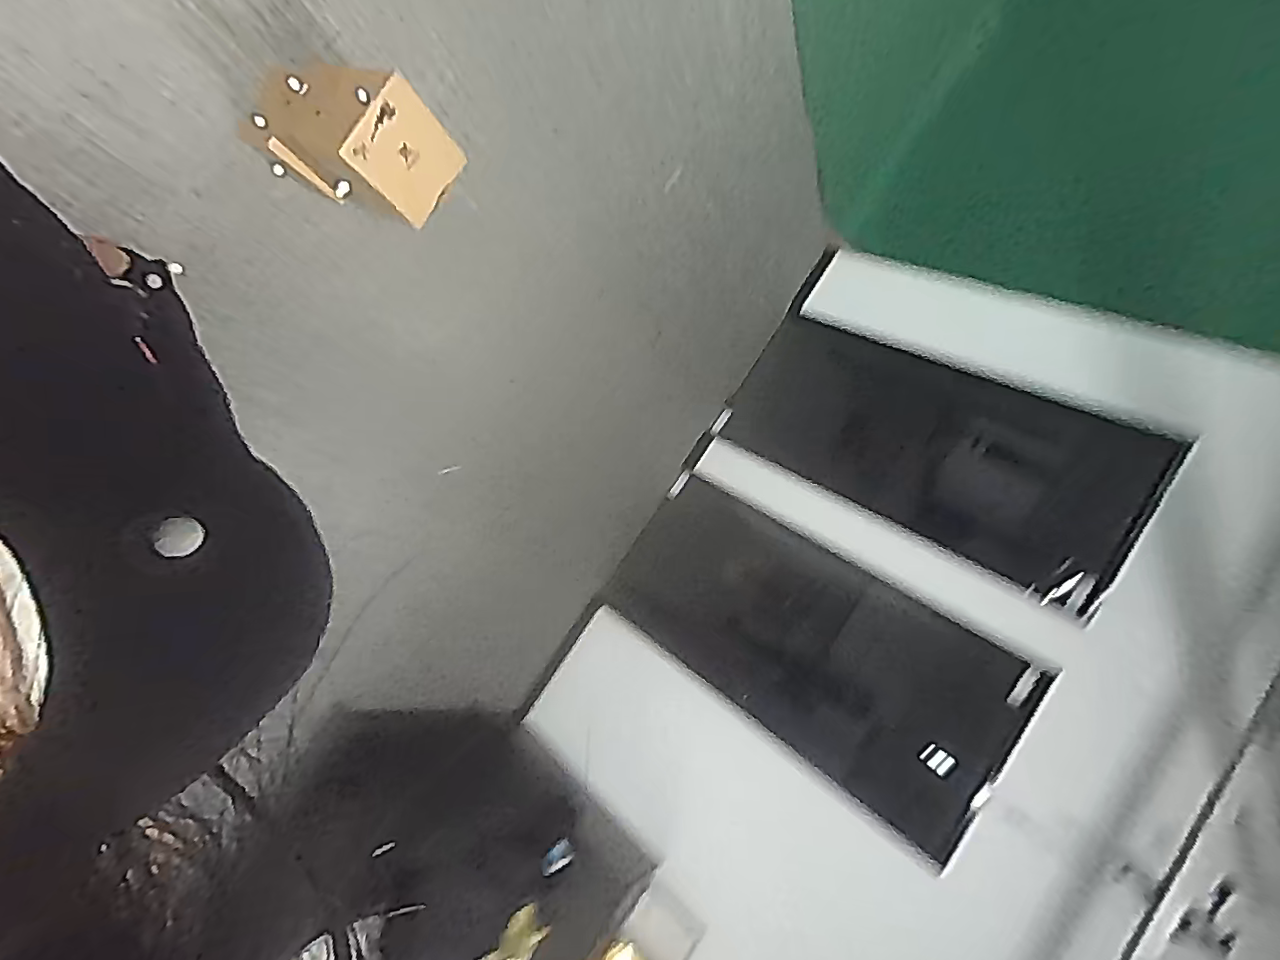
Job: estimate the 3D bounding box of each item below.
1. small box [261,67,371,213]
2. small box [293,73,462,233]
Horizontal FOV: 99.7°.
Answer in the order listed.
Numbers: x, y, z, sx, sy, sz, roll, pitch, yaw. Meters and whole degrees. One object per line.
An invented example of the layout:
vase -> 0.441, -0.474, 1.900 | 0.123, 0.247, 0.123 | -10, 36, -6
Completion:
small box -> -0.583, -0.666, 1.056 | 0.168, 0.176, 0.179 | -57, 149, -5
small box -> -0.467, -0.587, 0.969 | 0.168, 0.176, 0.179 | -56, 151, -5
